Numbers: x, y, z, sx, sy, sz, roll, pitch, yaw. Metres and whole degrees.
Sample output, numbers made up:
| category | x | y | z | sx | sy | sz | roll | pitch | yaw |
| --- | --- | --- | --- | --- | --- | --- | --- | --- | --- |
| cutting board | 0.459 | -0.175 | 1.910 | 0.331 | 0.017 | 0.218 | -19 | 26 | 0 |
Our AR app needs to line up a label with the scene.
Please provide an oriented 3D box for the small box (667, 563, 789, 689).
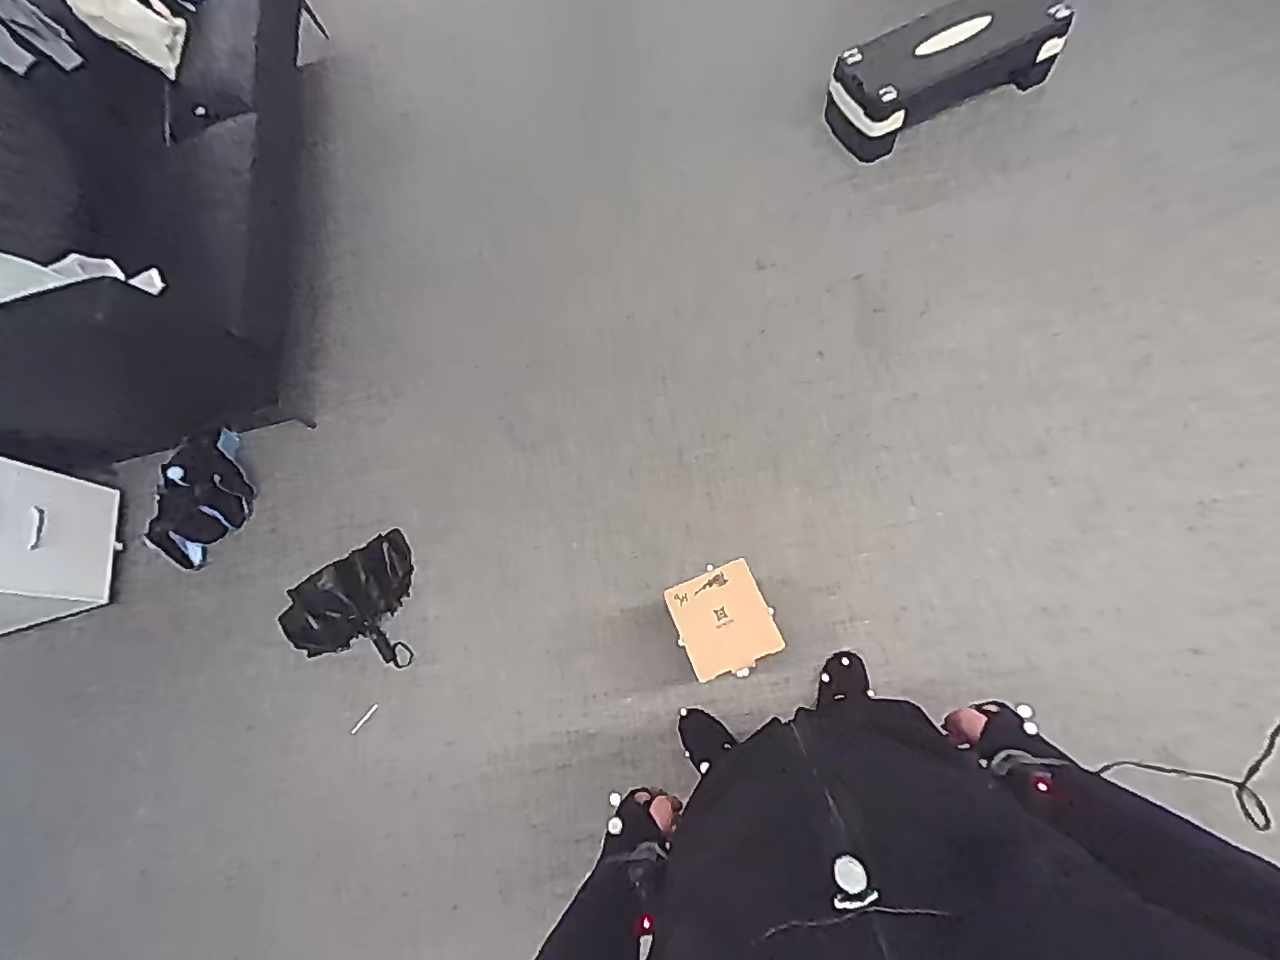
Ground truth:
| category | x | y | z | sx | sy | sz | roll | pitch | yaw |
| --- | --- | --- | --- | --- | --- | --- | --- | --- | --- |
| small box | 0.169 | 0.279 | 1.035 | 0.168 | 0.176 | 0.179 | -24 | 70 | 2 |
